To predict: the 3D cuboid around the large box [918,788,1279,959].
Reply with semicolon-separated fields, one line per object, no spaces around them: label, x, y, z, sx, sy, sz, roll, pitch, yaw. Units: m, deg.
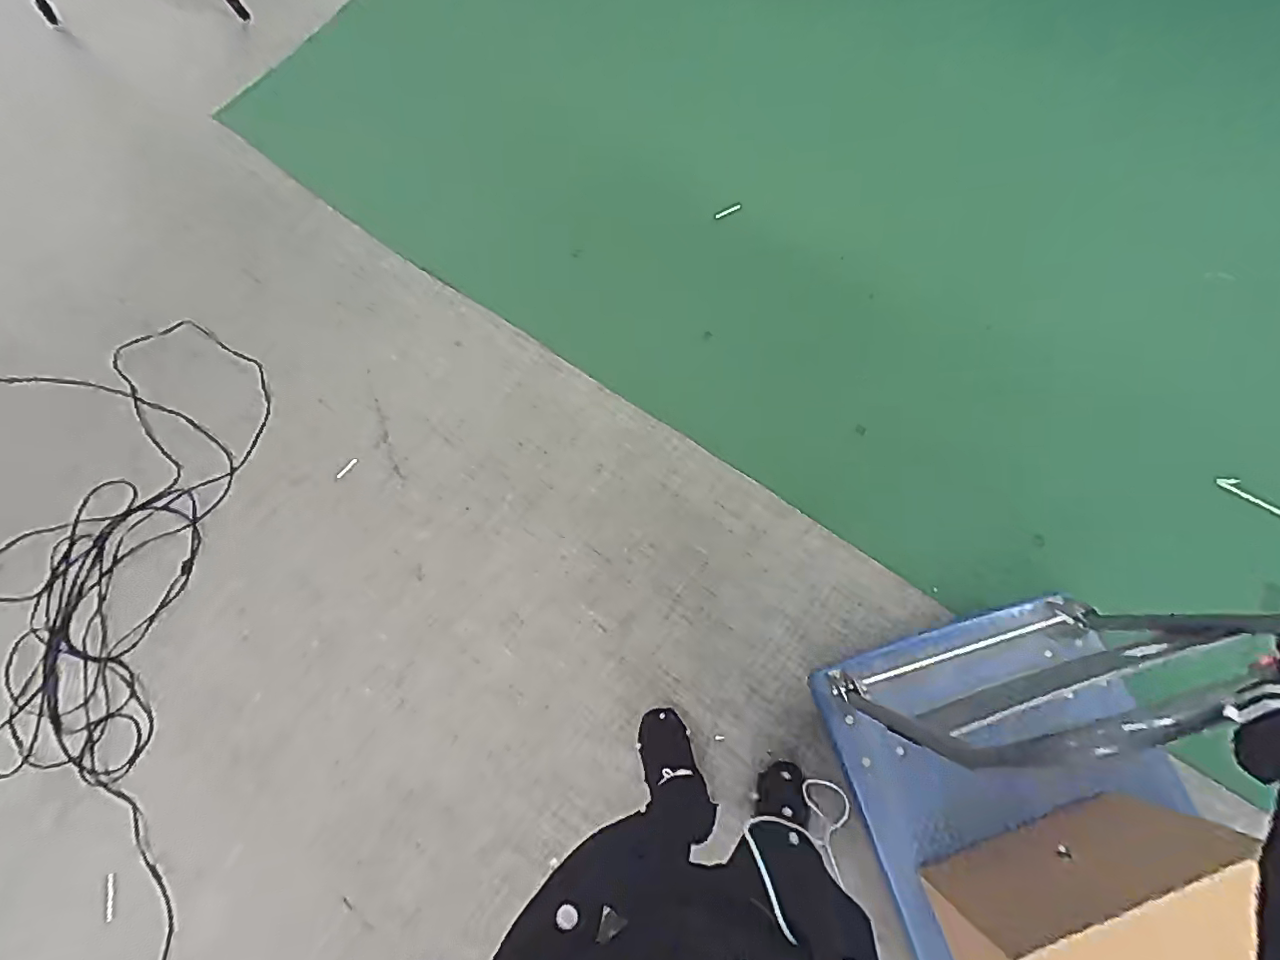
large box;0.730;0.730;0.812;0.408;0.320;0.320;-21;73;-4
